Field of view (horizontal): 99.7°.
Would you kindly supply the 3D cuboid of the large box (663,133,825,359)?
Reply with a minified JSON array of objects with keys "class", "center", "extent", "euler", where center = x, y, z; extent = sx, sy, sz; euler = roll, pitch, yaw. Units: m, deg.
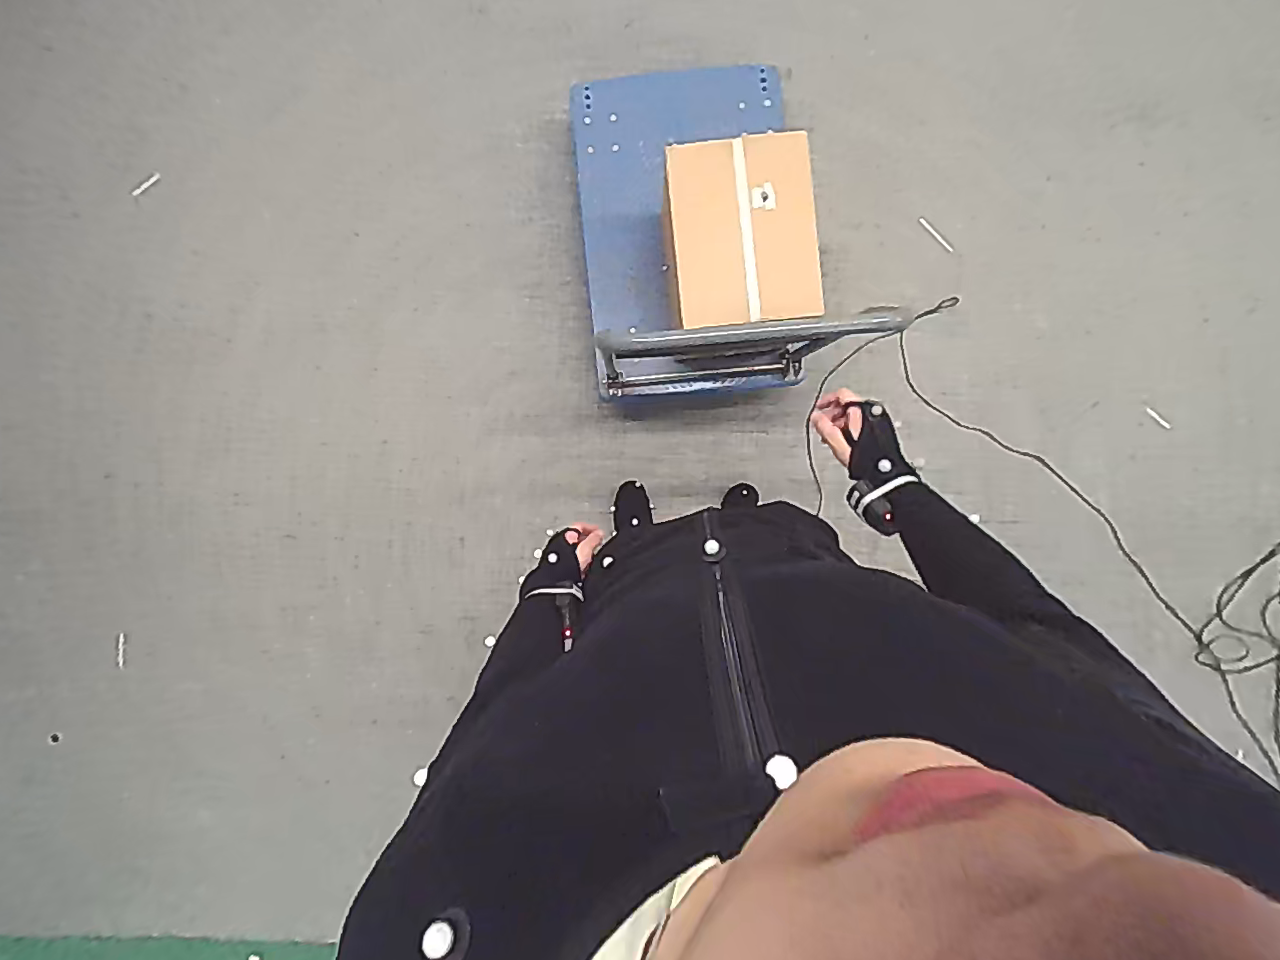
[{"class":"large box","center":[0.231,-0.543,1.328],"extent":[0.320,0.320,0.408],"euler":[-6,90,-1]}]
